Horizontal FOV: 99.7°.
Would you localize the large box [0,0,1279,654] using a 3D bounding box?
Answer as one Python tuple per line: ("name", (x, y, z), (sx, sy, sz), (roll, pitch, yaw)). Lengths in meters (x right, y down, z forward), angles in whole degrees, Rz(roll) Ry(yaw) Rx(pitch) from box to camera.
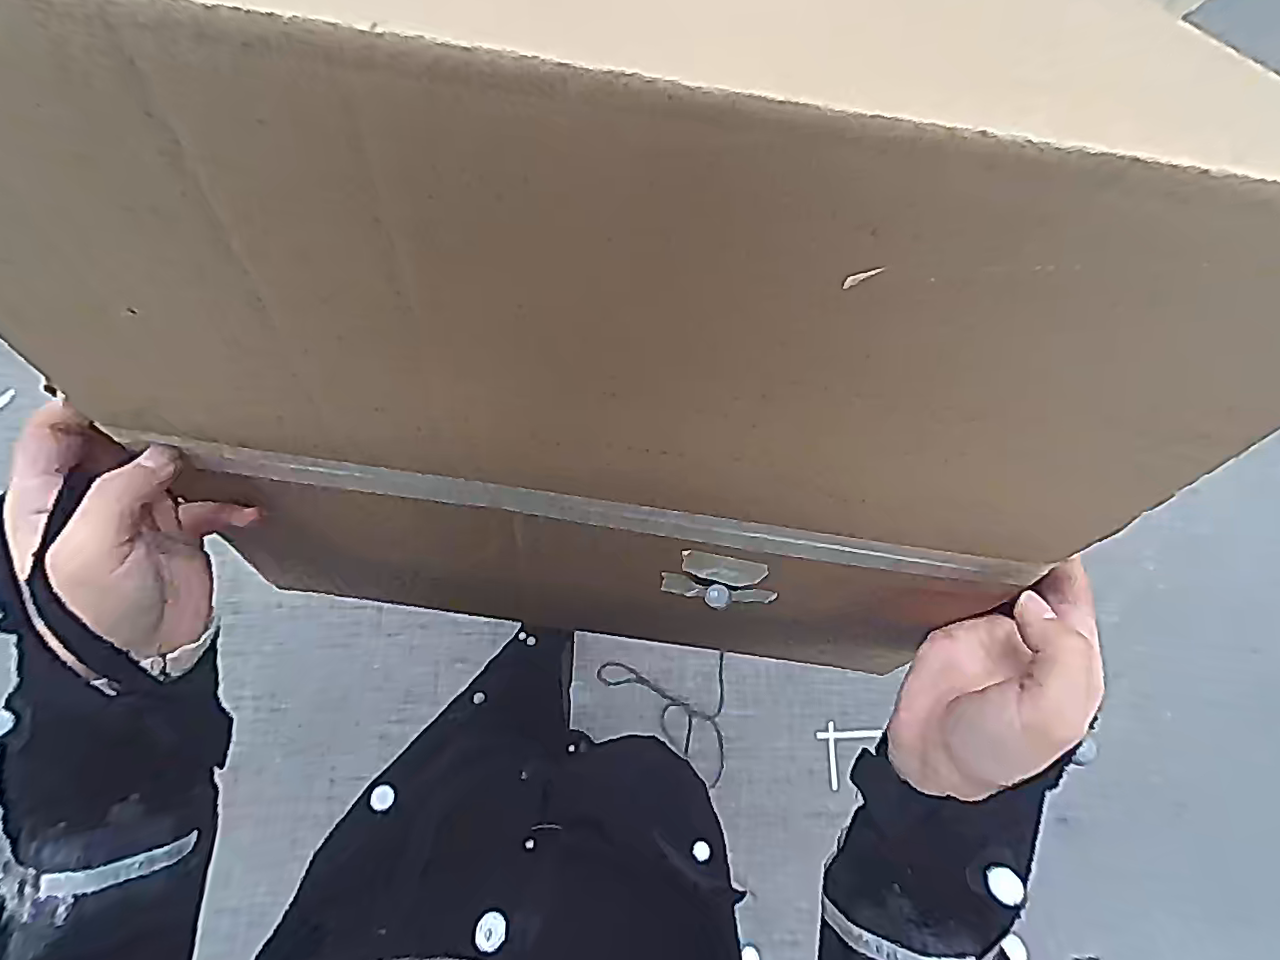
("large box", (-0.009, -0.115, 0.331), (0.408, 0.320, 0.320), (8, 55, -1))
